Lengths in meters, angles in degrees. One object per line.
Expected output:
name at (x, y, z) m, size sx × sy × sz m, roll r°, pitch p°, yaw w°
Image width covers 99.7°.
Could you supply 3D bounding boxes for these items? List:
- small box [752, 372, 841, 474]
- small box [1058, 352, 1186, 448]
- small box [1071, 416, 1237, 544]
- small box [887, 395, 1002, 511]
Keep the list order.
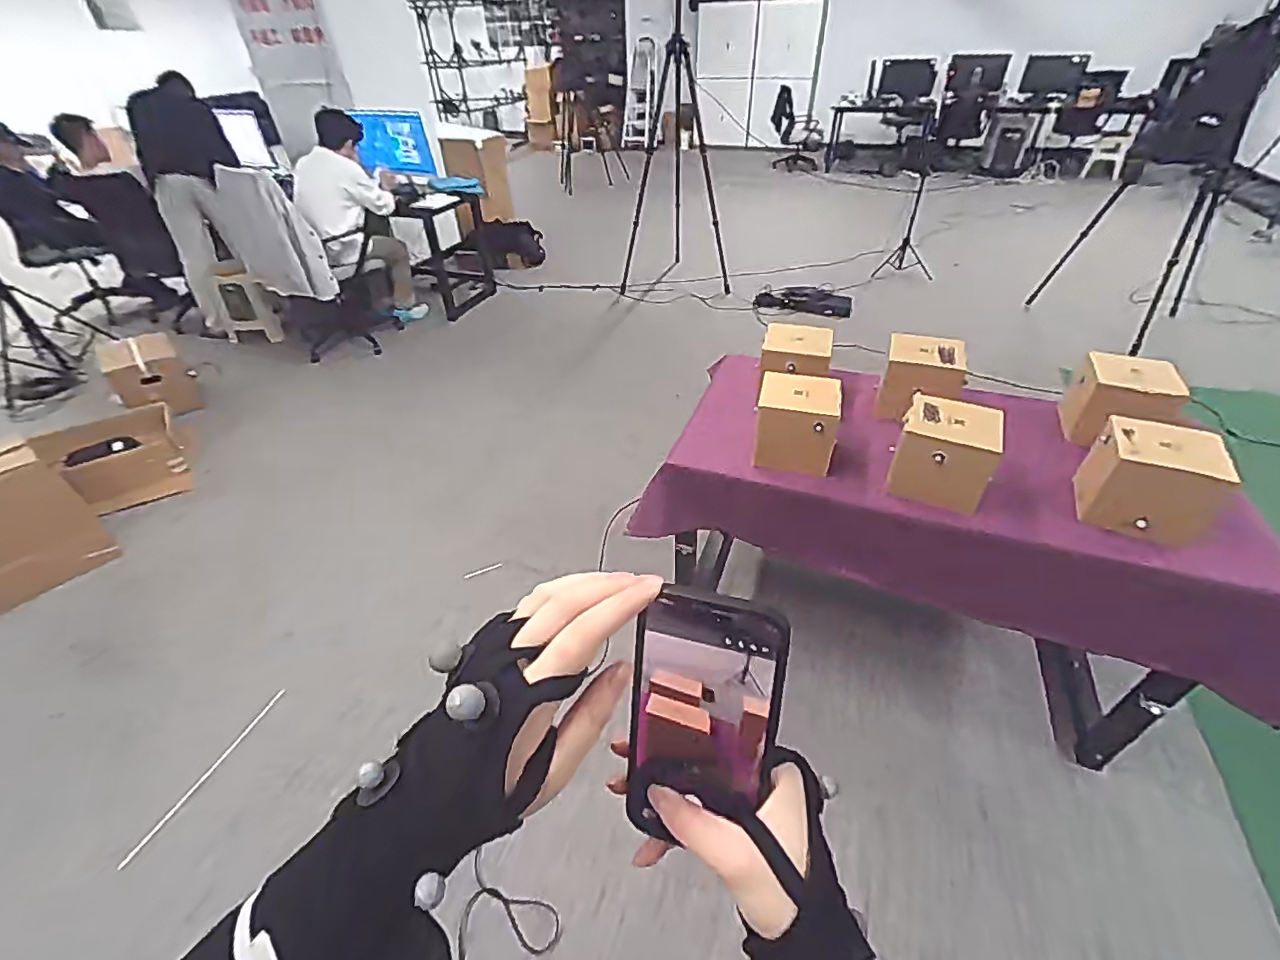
small box at (0.365, -0.133, 1.271) m, size 0.179 × 0.176 × 0.168 m, roll 10°, pitch 41°, yaw 12°
small box at (1.137, -0.183, 1.296) m, size 0.168 × 0.176 × 0.179 m, roll 15°, pitch 43°, yaw 20°
small box at (1.007, 0.002, 1.079) m, size 0.179 × 0.176 × 0.168 m, roll 18°, pitch 43°, yaw 22°
small box at (0.651, -0.058, 1.166) m, size 0.179 × 0.176 × 0.168 m, roll 18°, pitch 43°, yaw 21°
